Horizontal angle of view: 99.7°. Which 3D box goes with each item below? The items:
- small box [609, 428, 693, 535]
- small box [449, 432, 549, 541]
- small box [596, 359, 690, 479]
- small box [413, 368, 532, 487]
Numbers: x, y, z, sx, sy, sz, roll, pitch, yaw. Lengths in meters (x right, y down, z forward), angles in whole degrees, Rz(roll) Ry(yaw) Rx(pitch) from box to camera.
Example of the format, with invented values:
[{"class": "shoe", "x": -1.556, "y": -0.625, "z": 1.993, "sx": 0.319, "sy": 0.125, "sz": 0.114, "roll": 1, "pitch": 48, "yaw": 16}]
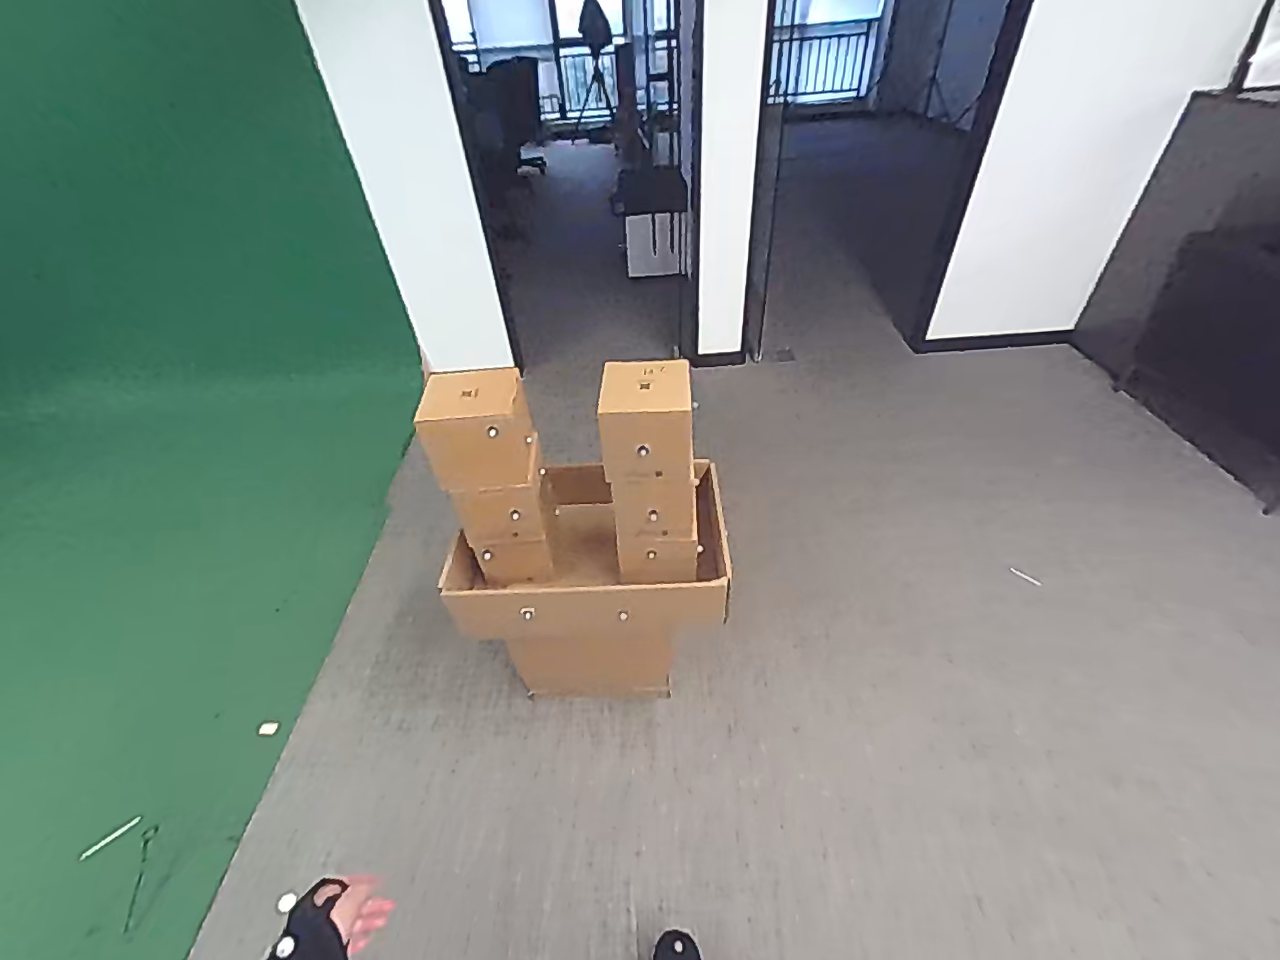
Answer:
[{"class": "small box", "x": 0.030, "y": 0.005, "z": 1.158, "sx": 0.168, "sy": 0.176, "sz": 0.179, "roll": -1, "pitch": 43, "yaw": 3}, {"class": "small box", "x": -0.295, "y": 0.019, "z": 1.171, "sx": 0.168, "sy": 0.176, "sz": 0.179, "roll": -5, "pitch": 42, "yaw": -1}, {"class": "small box", "x": 0.014, "y": -0.115, "z": 1.046, "sx": 0.168, "sy": 0.176, "sz": 0.179, "roll": 0, "pitch": 42, "yaw": 3}, {"class": "small box", "x": -0.317, "y": -0.101, "z": 1.062, "sx": 0.179, "sy": 0.176, "sz": 0.168, "roll": -5, "pitch": 42, "yaw": -3}]
